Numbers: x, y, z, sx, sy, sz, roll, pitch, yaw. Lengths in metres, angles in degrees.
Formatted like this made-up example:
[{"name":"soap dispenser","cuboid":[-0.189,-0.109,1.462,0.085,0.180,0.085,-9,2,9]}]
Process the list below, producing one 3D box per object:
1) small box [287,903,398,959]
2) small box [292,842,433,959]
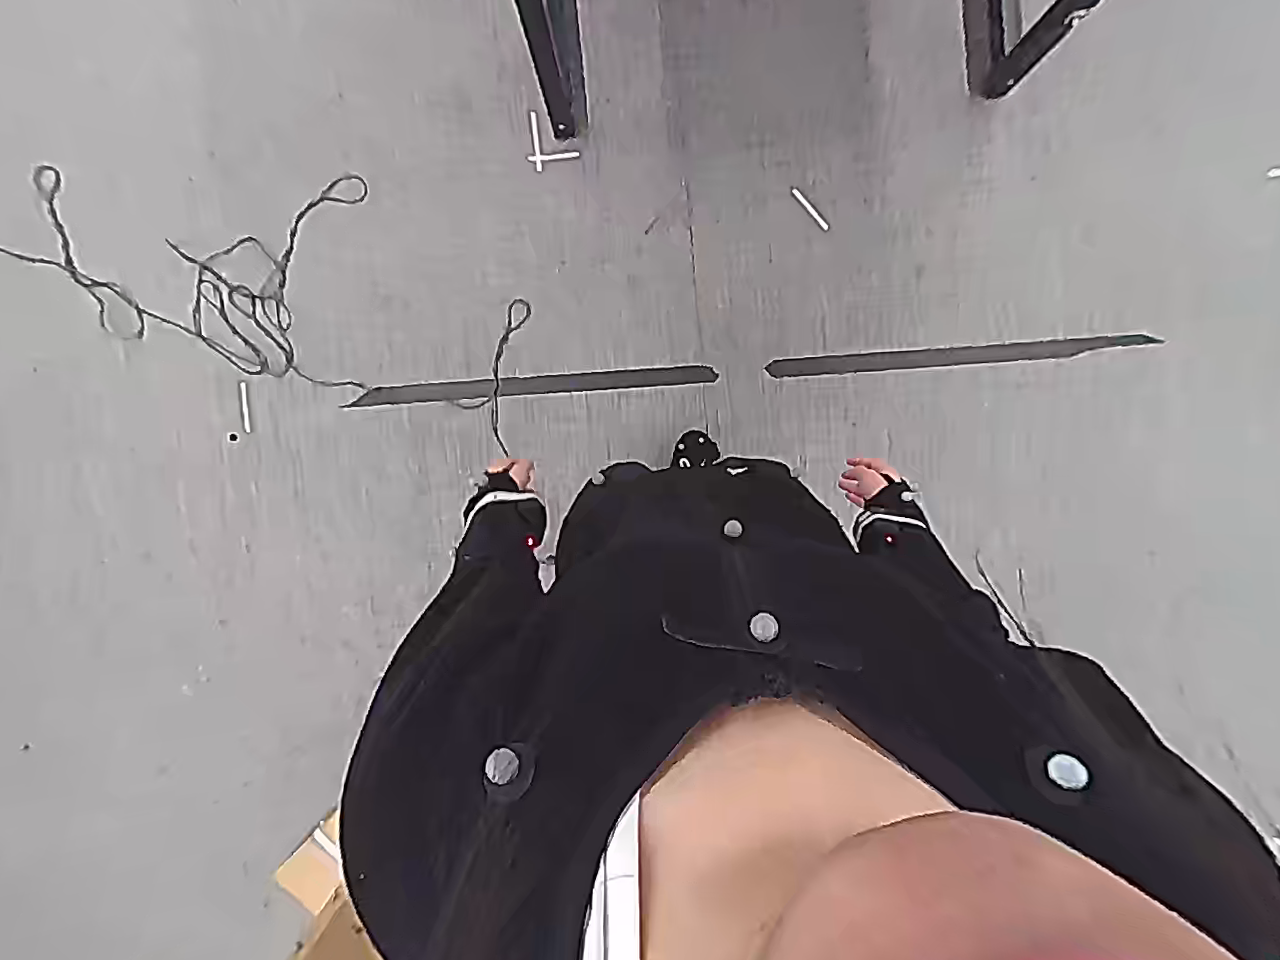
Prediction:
[{"name":"small box","cuboid":[-0.591,0.954,0.999,0.168,0.176,0.179,44,94,-2]},{"name":"small box","cuboid":[-0.584,0.943,1.163,0.168,0.176,0.179,44,92,-1]}]
